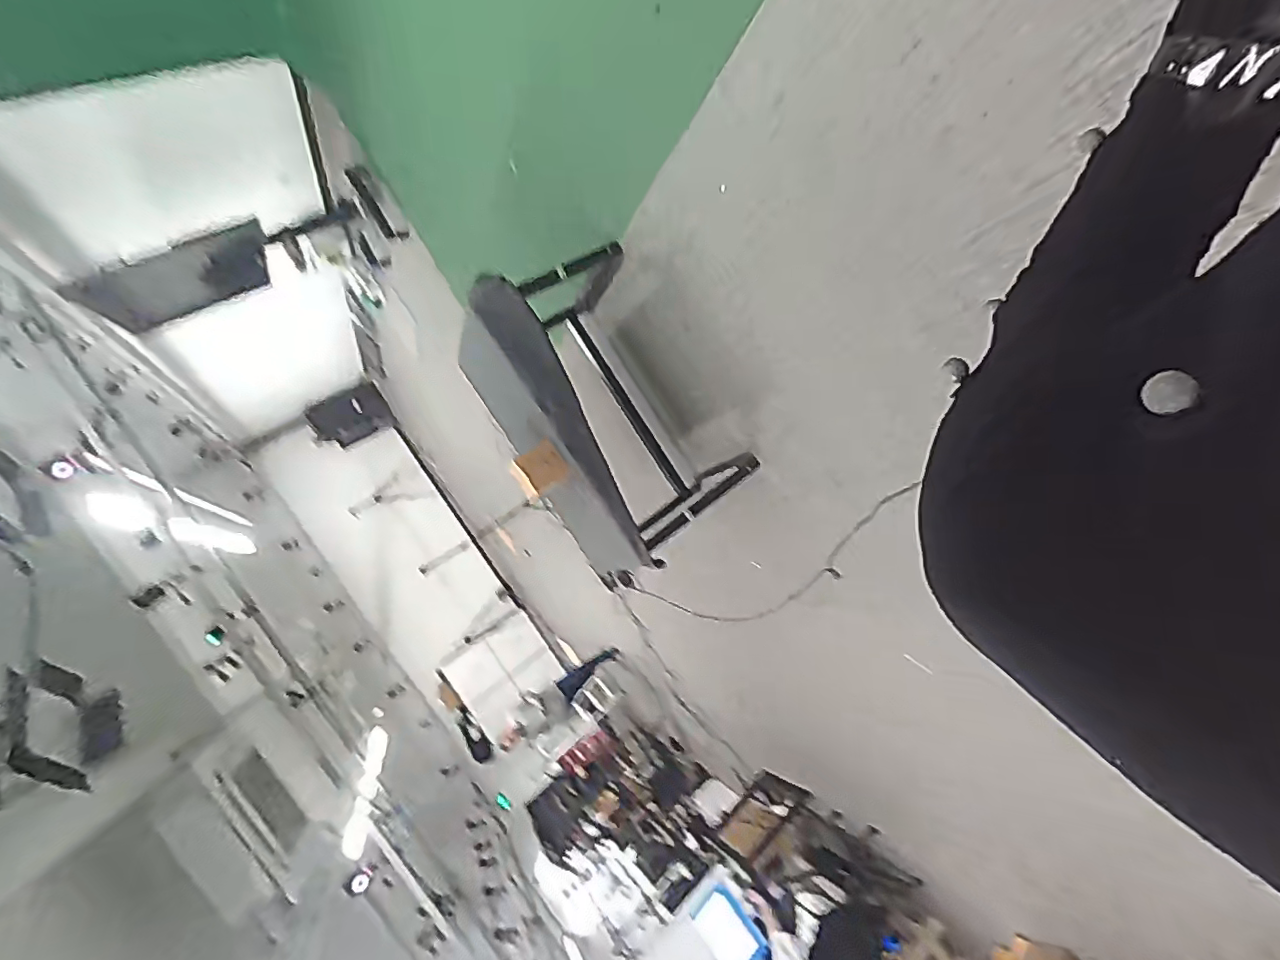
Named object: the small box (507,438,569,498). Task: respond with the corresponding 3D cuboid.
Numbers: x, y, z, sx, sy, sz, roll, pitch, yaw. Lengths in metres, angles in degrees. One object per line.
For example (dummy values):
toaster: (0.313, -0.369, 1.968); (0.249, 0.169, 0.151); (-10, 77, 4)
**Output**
small box: (-0.411, -0.050, 2.190); (0.168, 0.176, 0.179); (56, 155, -3)
